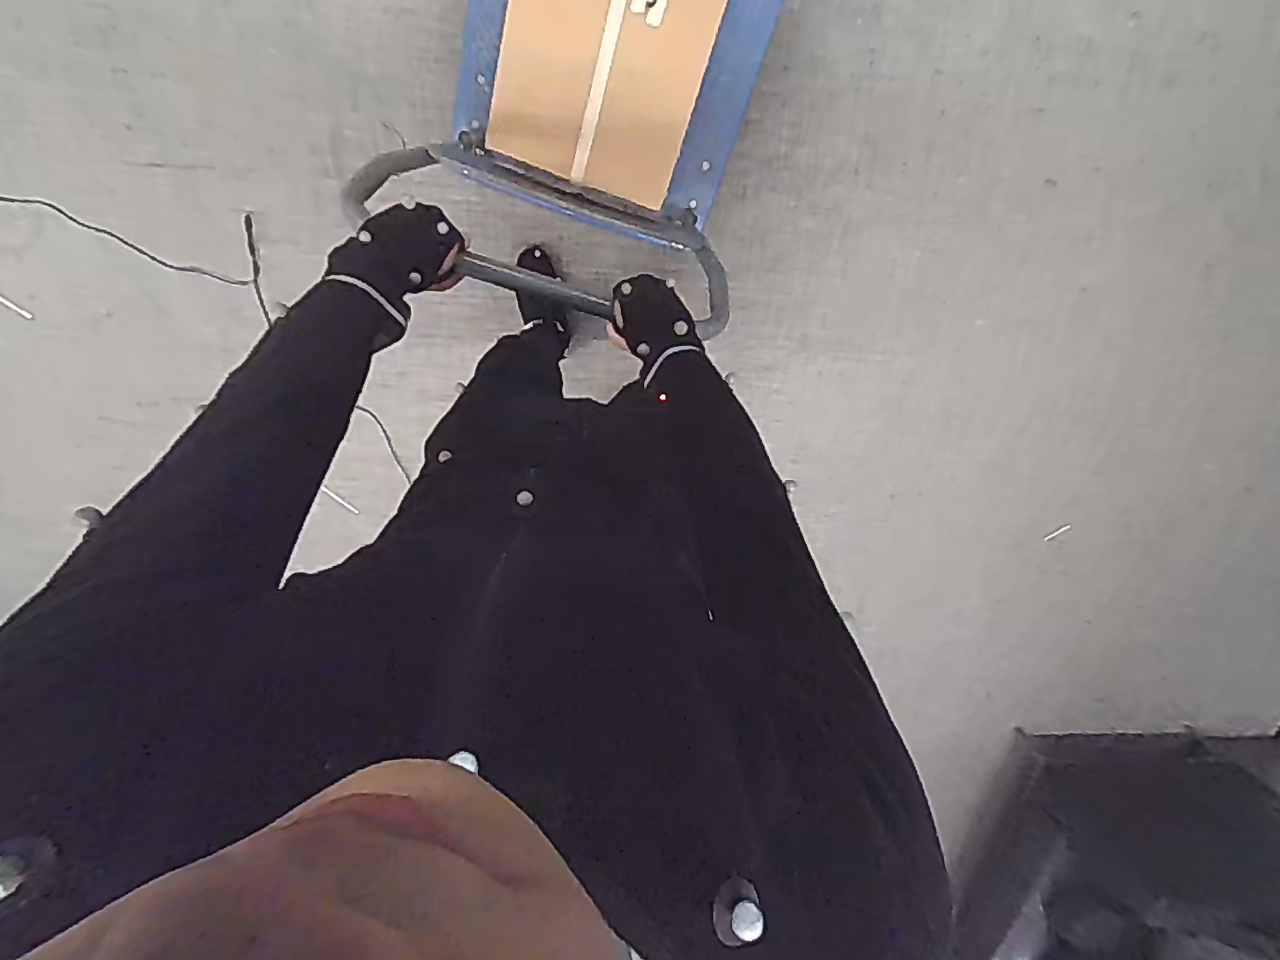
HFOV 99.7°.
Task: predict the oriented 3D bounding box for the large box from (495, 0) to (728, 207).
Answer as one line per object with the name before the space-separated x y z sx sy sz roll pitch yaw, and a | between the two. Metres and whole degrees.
large box | -0.048 -0.760 0.983 0.320 0.320 0.408 15 117 -11
